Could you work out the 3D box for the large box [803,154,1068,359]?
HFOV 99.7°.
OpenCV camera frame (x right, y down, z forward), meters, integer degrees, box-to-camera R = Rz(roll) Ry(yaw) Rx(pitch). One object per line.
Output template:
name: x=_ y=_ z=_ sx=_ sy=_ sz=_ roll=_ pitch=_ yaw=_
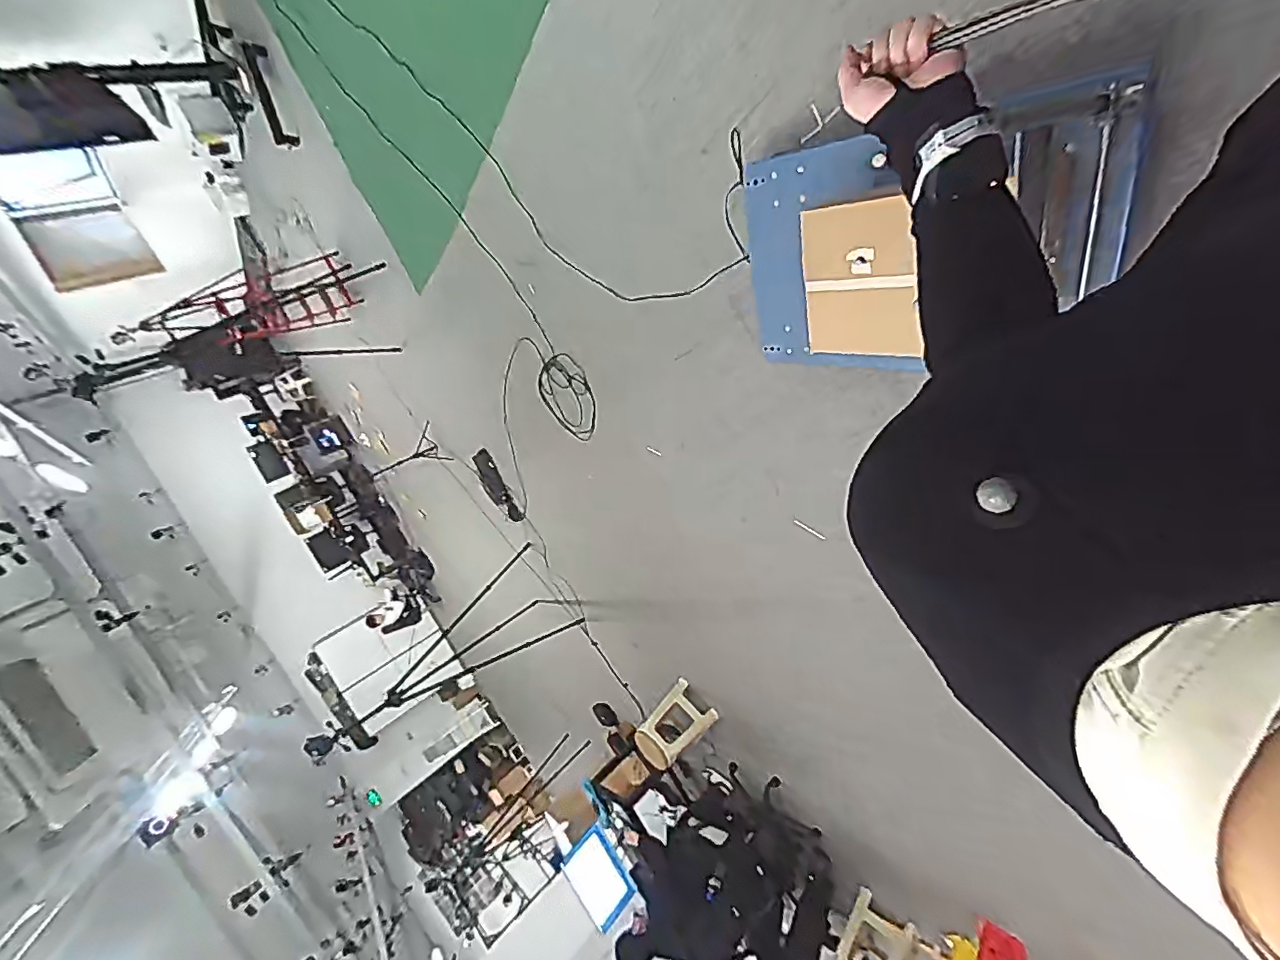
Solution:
large box: x=0.619 y=-0.466 z=1.161 sx=0.408 sy=0.320 sz=0.320 roll=18 pitch=129 yaw=46
